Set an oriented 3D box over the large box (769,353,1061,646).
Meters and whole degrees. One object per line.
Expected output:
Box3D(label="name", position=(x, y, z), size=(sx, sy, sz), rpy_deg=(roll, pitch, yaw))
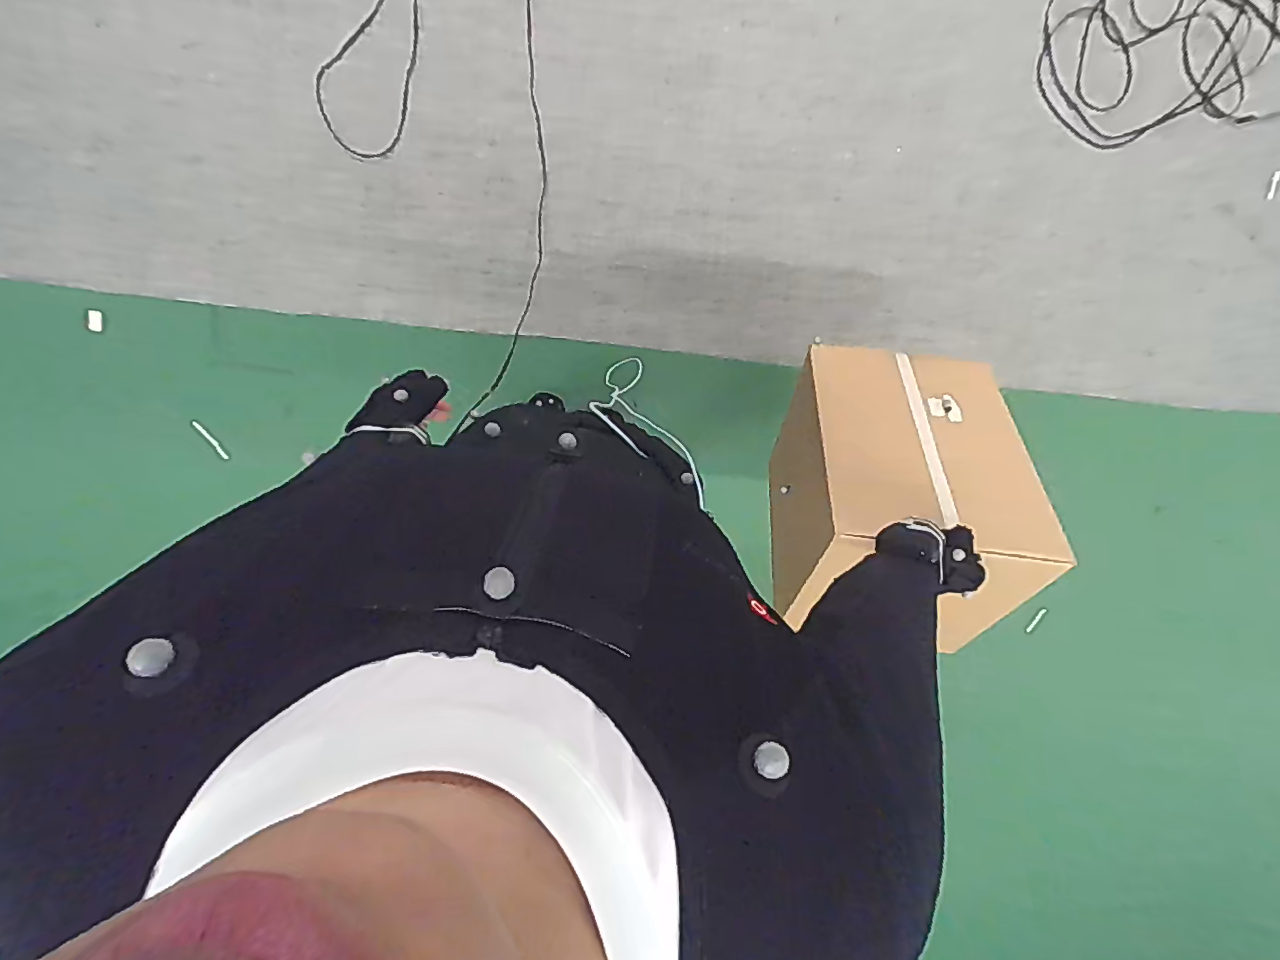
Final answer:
Box3D(label="large box", position=(0.421, 0.034, 0.958), size=(0.320, 0.408, 0.320), rpy_deg=(8, 141, 1))
